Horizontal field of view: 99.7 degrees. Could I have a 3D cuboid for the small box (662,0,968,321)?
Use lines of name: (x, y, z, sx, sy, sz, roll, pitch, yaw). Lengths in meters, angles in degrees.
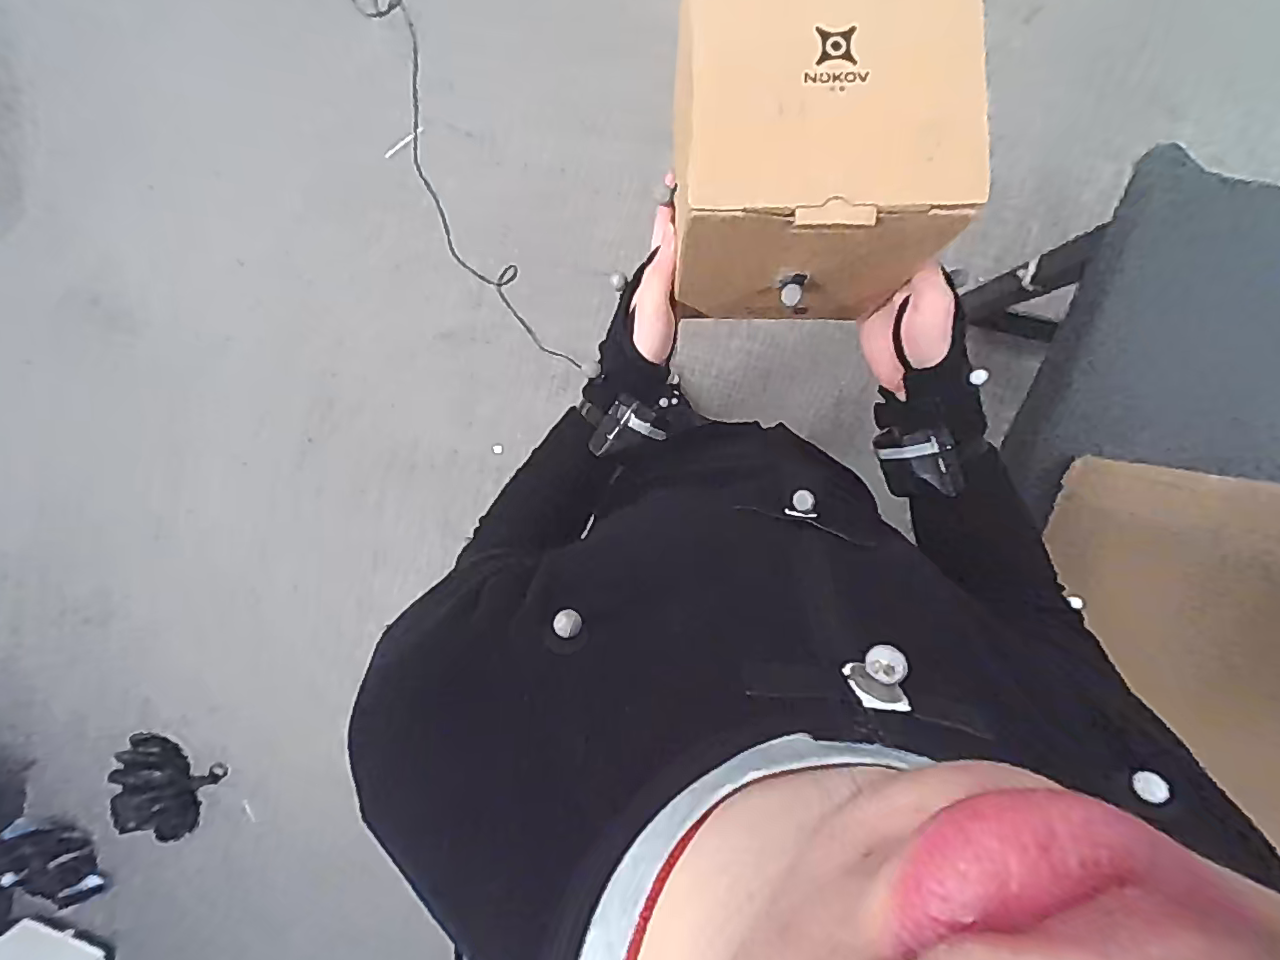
small box: (0.100, -0.221, 0.381, 0.168, 0.176, 0.179, 1, 88, 2)
